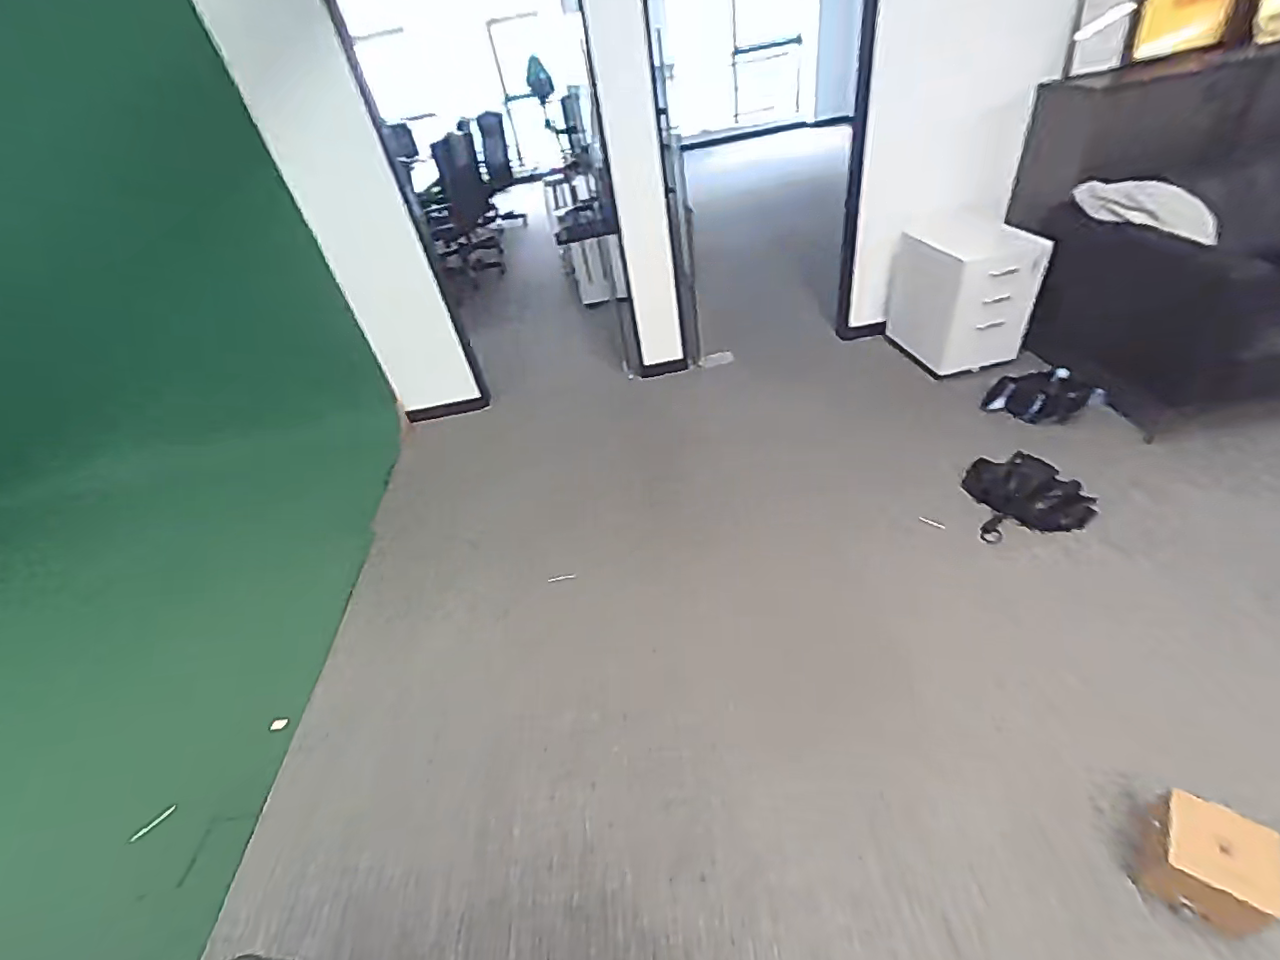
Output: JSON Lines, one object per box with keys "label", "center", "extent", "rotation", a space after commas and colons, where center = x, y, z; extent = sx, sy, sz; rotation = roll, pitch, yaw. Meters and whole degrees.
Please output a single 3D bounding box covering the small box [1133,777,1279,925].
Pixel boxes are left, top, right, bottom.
{"label": "small box", "center": [1.176, 0.777, 1.135], "extent": [0.168, 0.176, 0.179], "rotation": [18, 49, 33]}
